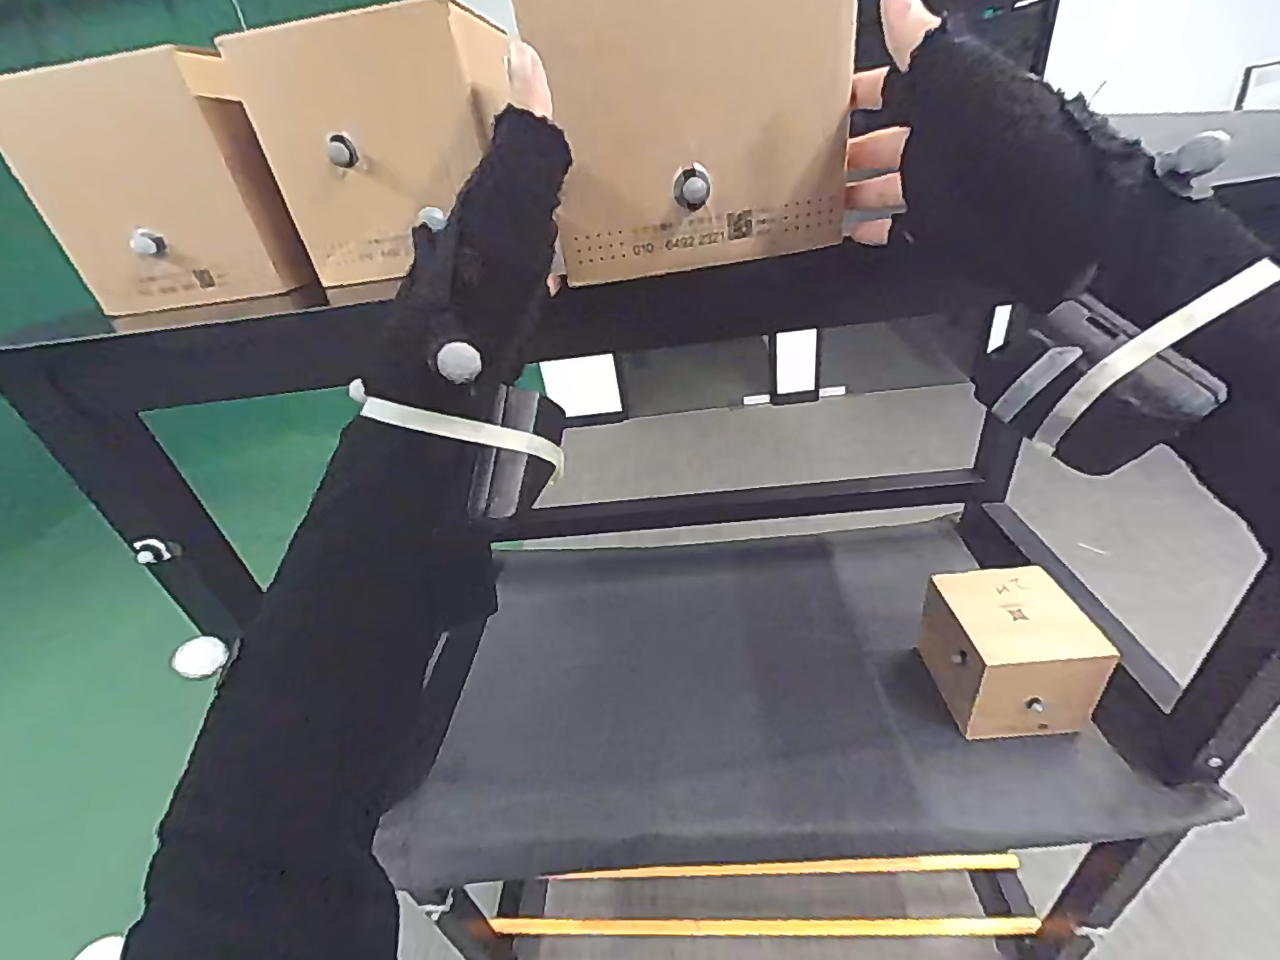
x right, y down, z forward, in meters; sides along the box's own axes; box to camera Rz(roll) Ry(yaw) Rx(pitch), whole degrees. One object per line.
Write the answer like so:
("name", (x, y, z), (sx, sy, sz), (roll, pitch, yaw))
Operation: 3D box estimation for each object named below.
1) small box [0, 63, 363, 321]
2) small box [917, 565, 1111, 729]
("small box", (-0.386, -0.256, 0.493), (0.168, 0.176, 0.179), (-6, 33, 5))
("small box", (0.543, 0.255, 0.816), (0.168, 0.176, 0.179), (-6, 31, 5))
